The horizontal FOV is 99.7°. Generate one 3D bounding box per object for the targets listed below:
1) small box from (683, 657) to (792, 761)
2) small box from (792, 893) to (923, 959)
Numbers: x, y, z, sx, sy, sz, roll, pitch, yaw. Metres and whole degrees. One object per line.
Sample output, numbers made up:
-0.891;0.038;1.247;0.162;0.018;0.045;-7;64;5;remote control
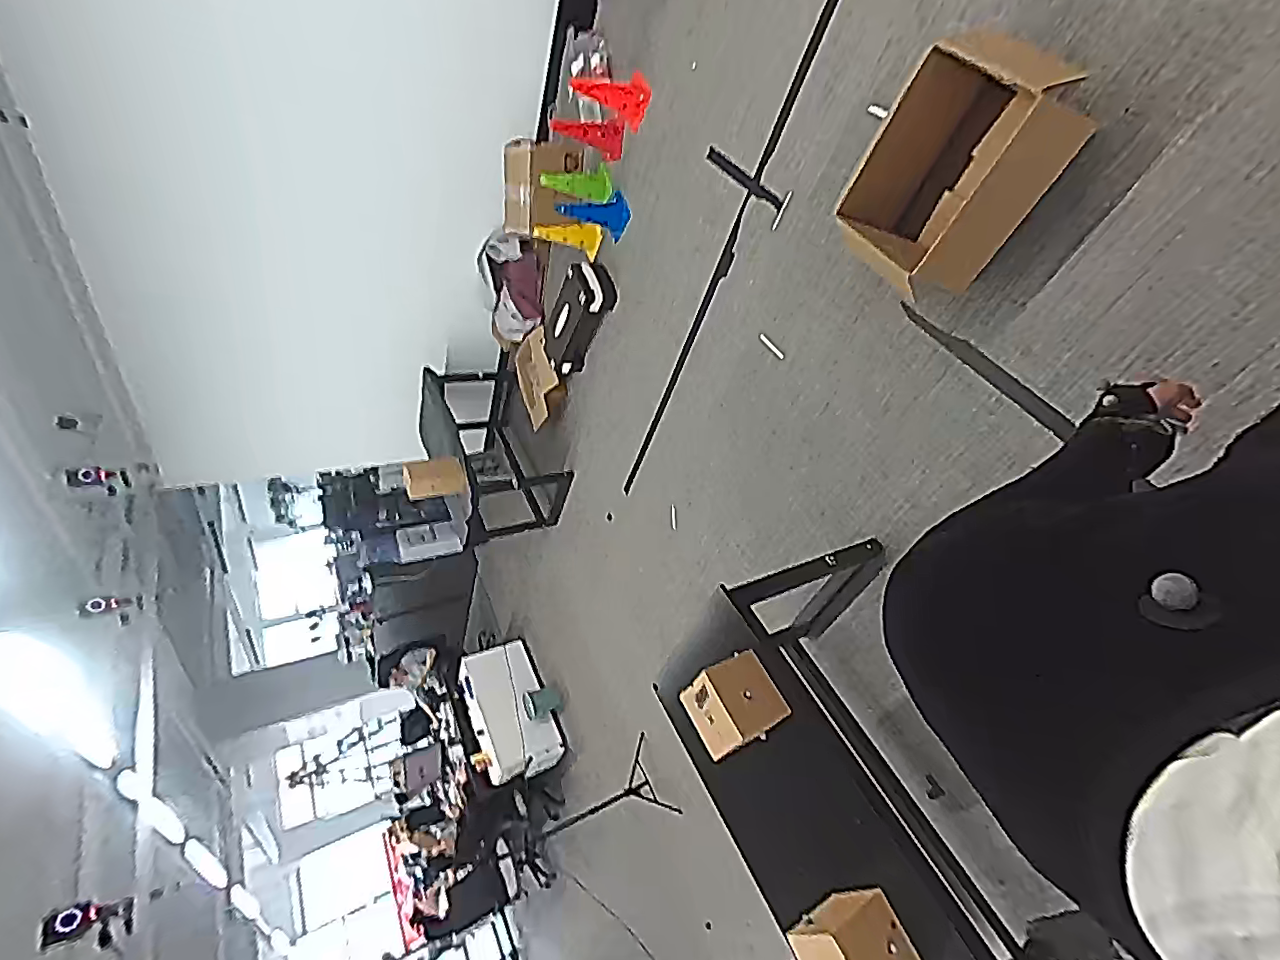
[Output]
0.245;0.570;1.368;0.179;0.176;0.168;57;142;30;small box
0.467;1.013;1.144;0.168;0.176;0.179;60;143;28;small box
